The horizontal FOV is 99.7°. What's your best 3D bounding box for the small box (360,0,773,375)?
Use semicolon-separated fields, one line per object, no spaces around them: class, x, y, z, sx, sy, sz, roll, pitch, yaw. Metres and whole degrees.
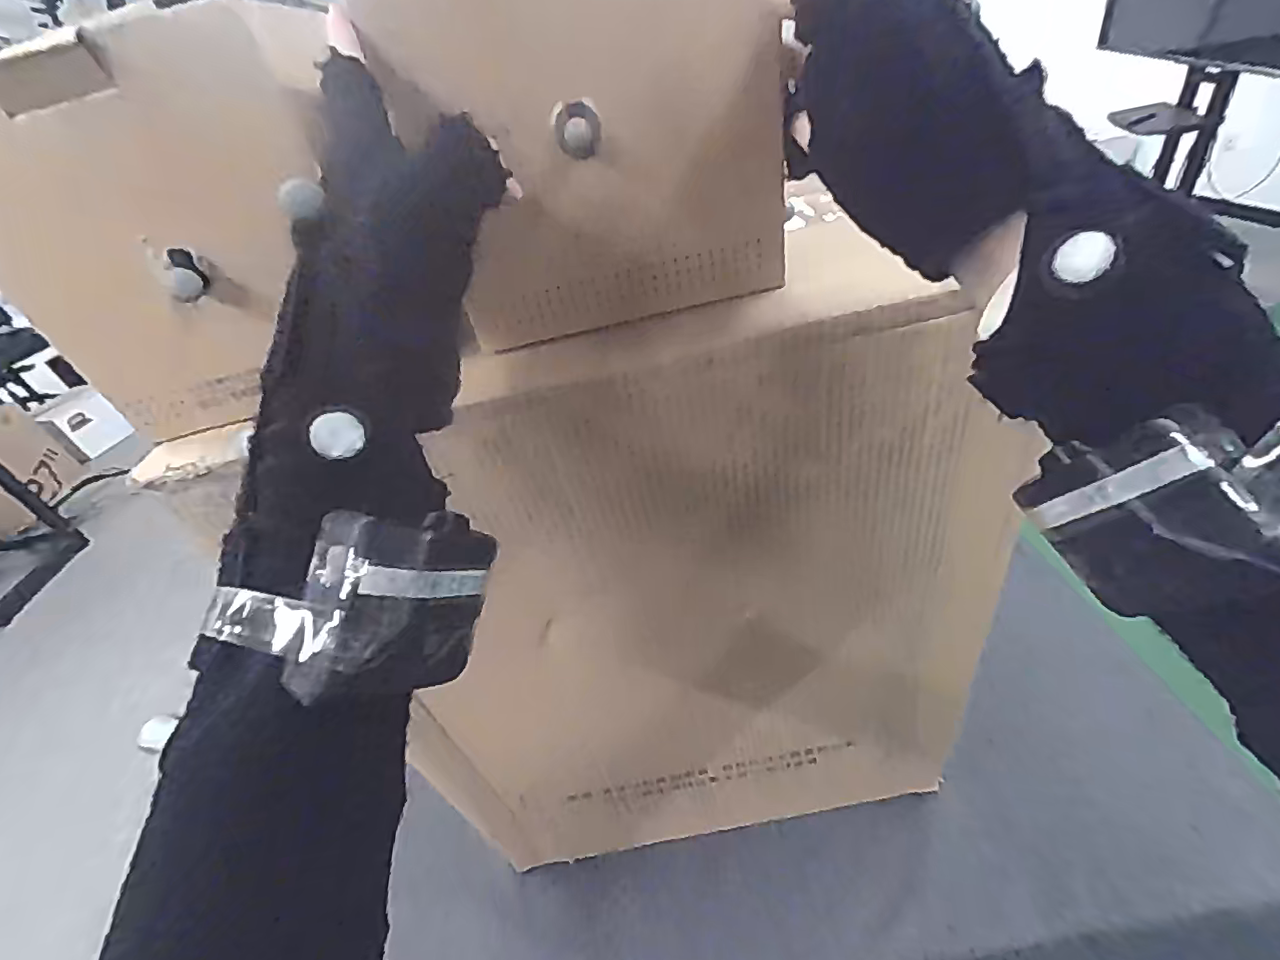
small box;-0.025;-0.186;0.332;0.179;0.176;0.168;-12;38;3

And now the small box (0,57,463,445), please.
small box;-0.227;-0.140;0.344;0.168;0.176;0.179;-17;39;0
